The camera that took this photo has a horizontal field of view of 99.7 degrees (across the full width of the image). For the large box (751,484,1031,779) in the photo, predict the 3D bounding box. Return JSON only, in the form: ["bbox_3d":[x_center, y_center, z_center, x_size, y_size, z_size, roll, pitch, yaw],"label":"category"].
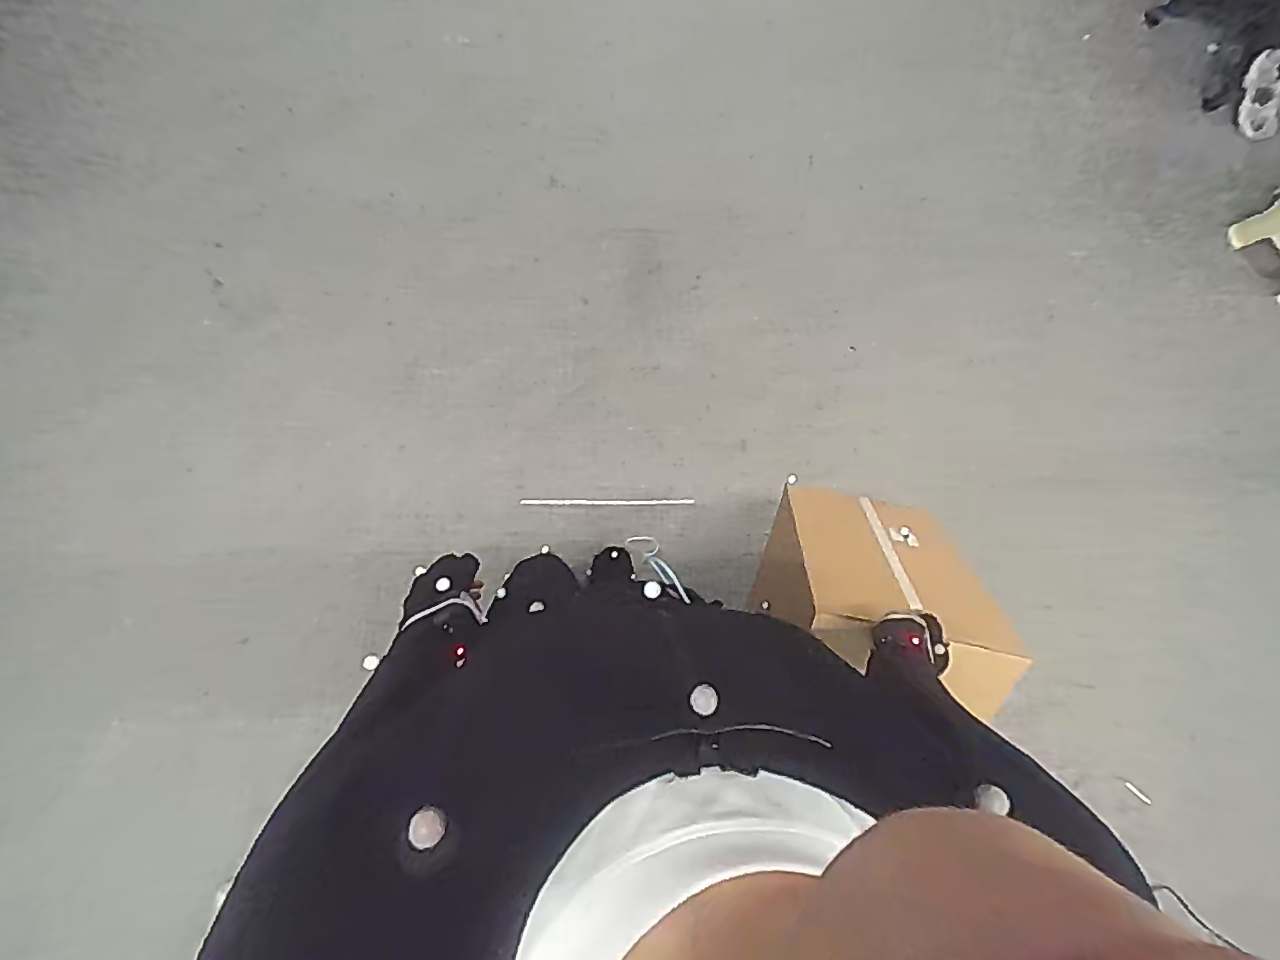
[{"bbox_3d":[0.402,0.257,1.004,0.320,0.408,0.320,13,117,2],"label":"large box"}]
